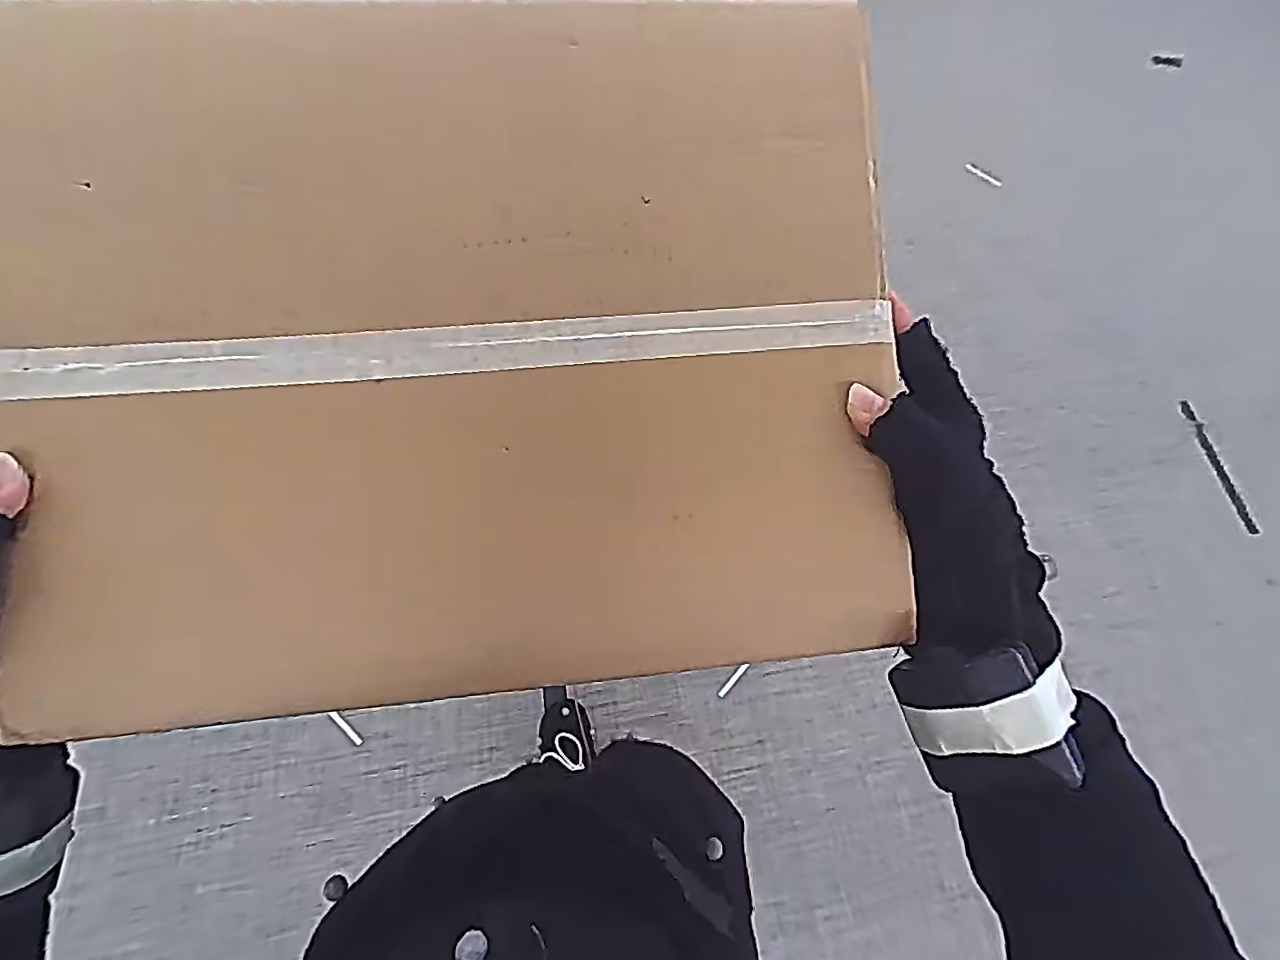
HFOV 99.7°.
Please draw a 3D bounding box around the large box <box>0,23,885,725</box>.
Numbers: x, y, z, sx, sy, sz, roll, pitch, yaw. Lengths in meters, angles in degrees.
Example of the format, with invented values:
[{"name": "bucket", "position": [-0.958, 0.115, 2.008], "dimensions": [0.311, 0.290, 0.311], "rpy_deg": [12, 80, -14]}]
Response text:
[{"name": "large box", "position": [-0.094, -0.062, 0.404], "dimensions": [0.408, 0.320, 0.320], "rpy_deg": [-4, 90, -5]}]
